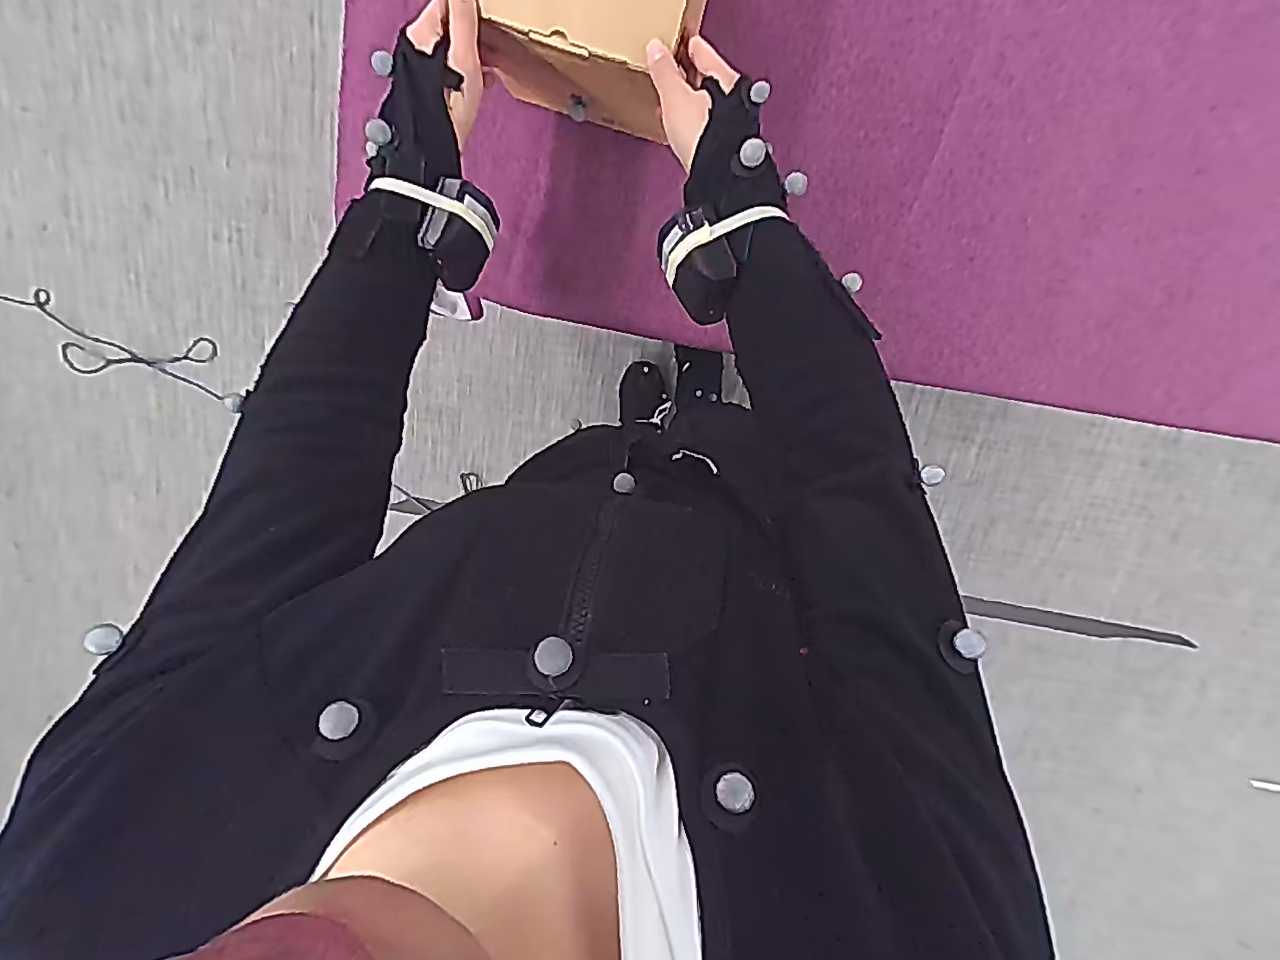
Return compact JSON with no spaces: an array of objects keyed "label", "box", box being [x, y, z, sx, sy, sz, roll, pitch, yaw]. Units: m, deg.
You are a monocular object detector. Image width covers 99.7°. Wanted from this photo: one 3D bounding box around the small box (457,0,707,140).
[{"label":"small box","box":[-0.030,-0.419,0.442,0.168,0.176,0.179,16,107,-2]}]
